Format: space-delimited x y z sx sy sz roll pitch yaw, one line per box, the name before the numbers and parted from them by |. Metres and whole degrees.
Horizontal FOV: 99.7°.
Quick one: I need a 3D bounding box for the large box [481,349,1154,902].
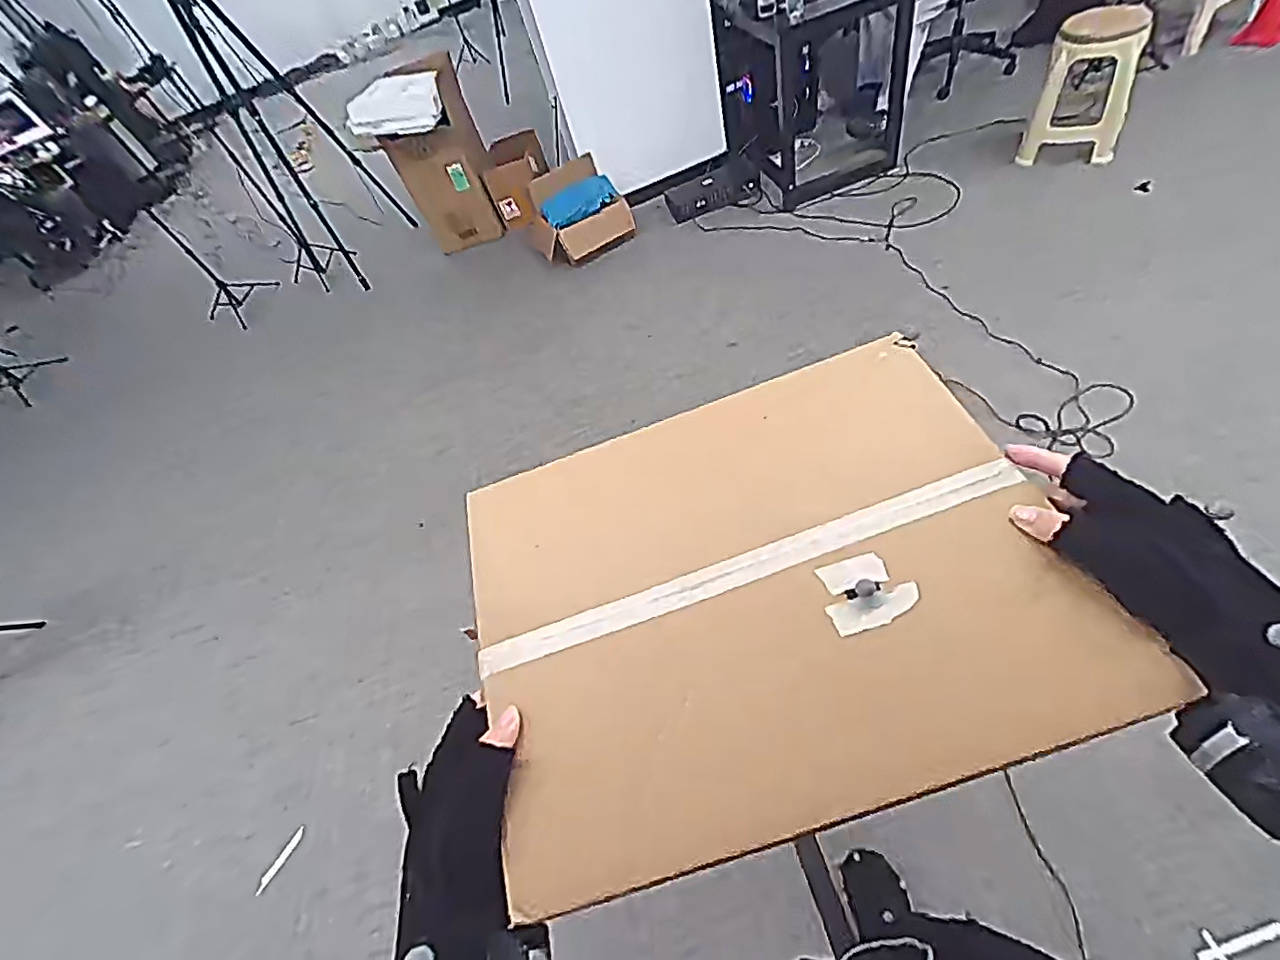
large box | 0.111 0.147 0.527 0.408 0.320 0.320 -21 56 2
